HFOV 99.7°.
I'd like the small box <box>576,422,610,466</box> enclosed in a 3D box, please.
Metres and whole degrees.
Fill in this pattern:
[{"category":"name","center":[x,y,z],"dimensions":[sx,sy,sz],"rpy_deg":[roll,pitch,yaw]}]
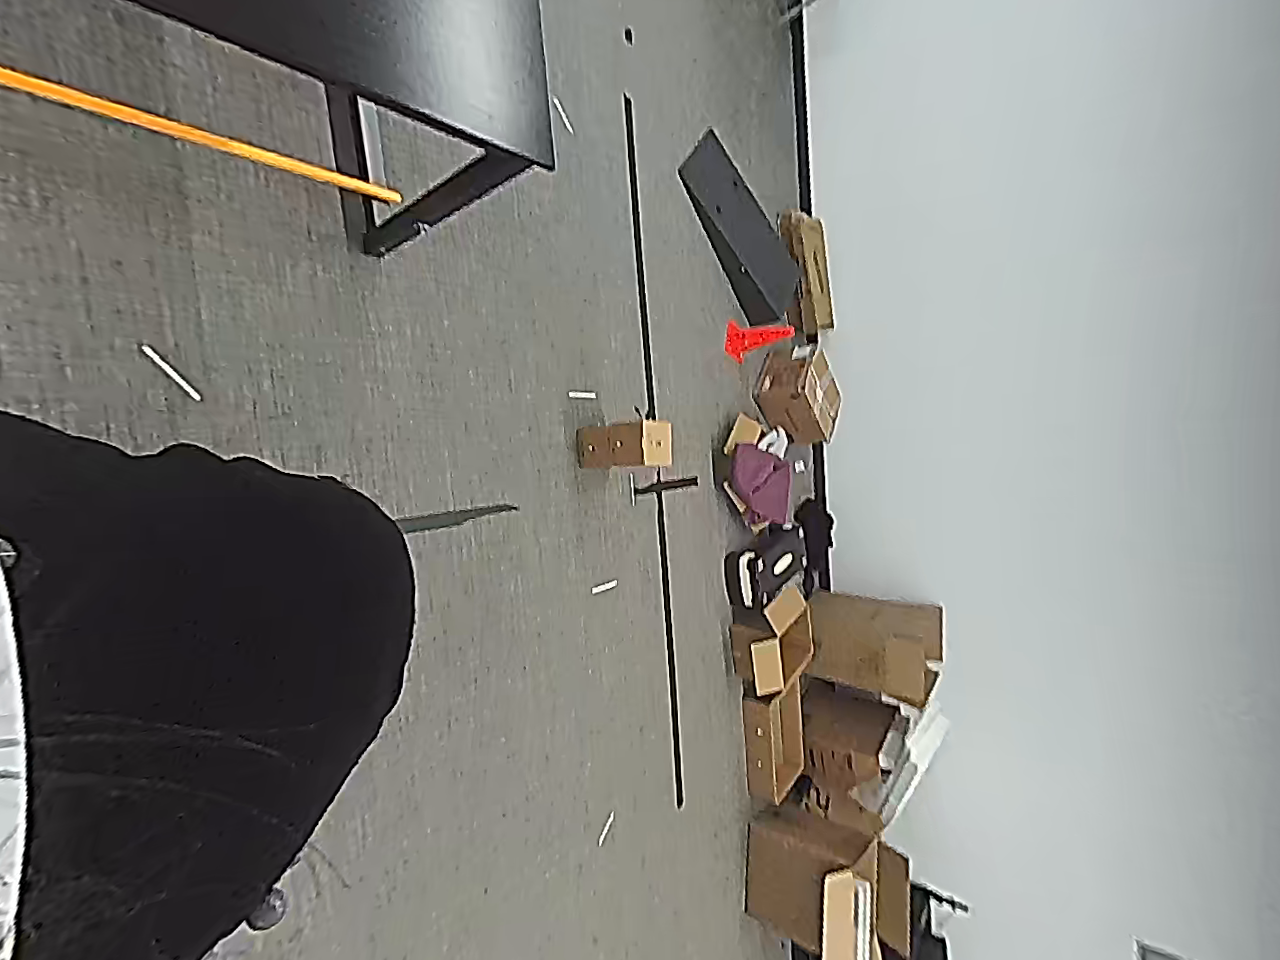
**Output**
[{"category":"small box","center":[-0.145,-0.146,2.163],"dimensions":[0.179,0.176,0.168],"rpy_deg":[-11,98,-50]}]

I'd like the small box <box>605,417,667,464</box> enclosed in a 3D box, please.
[{"category":"small box","center":[-0.014,-0.146,2.061],"dimensions":[0.179,0.176,0.168],"rpy_deg":[-2,91,-51]}]
